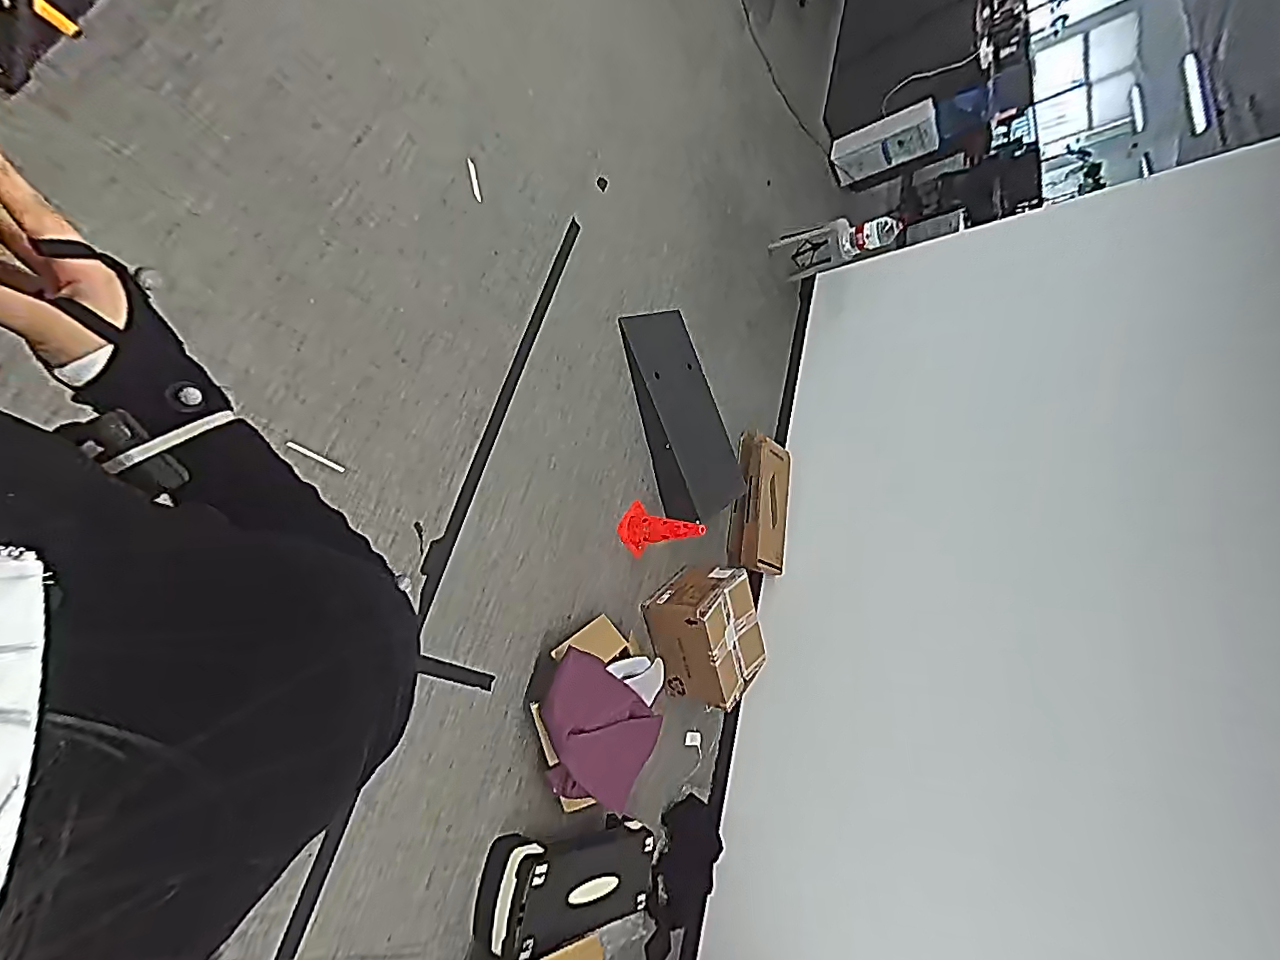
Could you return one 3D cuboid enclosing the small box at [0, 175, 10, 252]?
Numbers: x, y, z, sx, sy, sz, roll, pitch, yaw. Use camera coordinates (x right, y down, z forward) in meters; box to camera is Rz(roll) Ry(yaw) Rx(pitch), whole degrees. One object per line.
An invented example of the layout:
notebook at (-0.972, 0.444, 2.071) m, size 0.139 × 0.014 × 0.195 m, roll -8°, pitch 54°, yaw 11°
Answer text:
small box at (-0.430, -0.187, 0.234) m, size 0.179 × 0.176 × 0.168 m, roll -13°, pitch 105°, yaw -56°
